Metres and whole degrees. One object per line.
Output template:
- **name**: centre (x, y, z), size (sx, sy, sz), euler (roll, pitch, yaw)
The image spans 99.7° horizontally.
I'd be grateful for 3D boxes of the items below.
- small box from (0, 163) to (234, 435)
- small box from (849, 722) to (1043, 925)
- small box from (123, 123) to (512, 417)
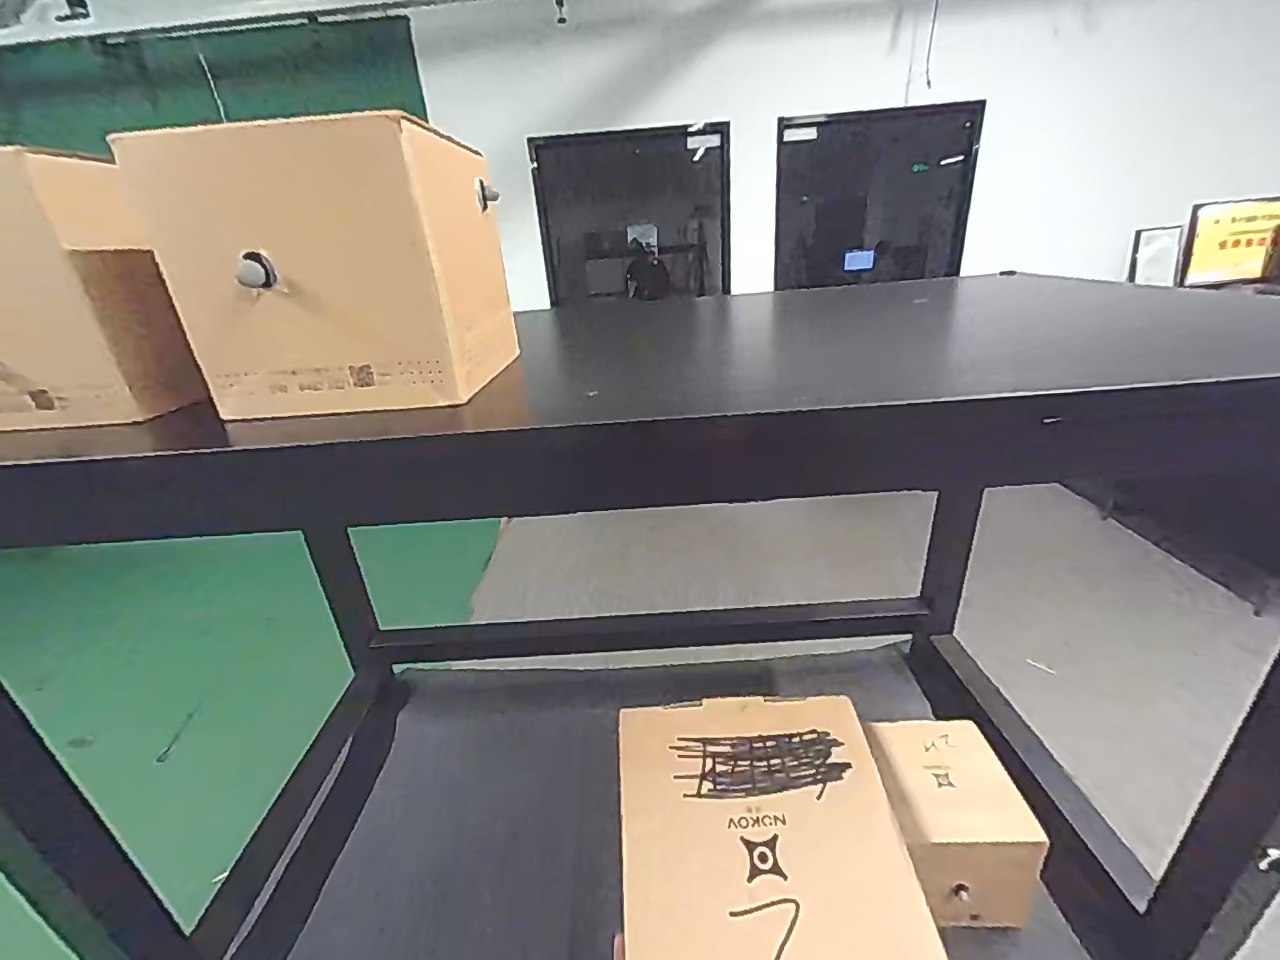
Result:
- **small box**: centre (-0.430, -0.141, 0.429), size (0.168, 0.176, 0.179), euler (-3, 25, 2)
- **small box**: centre (0.393, 0.458, 0.730), size (0.168, 0.176, 0.179), euler (-2, 23, 4)
- **small box**: centre (-0.205, -0.148, 0.410), size (0.168, 0.176, 0.179), euler (-3, 23, 3)
